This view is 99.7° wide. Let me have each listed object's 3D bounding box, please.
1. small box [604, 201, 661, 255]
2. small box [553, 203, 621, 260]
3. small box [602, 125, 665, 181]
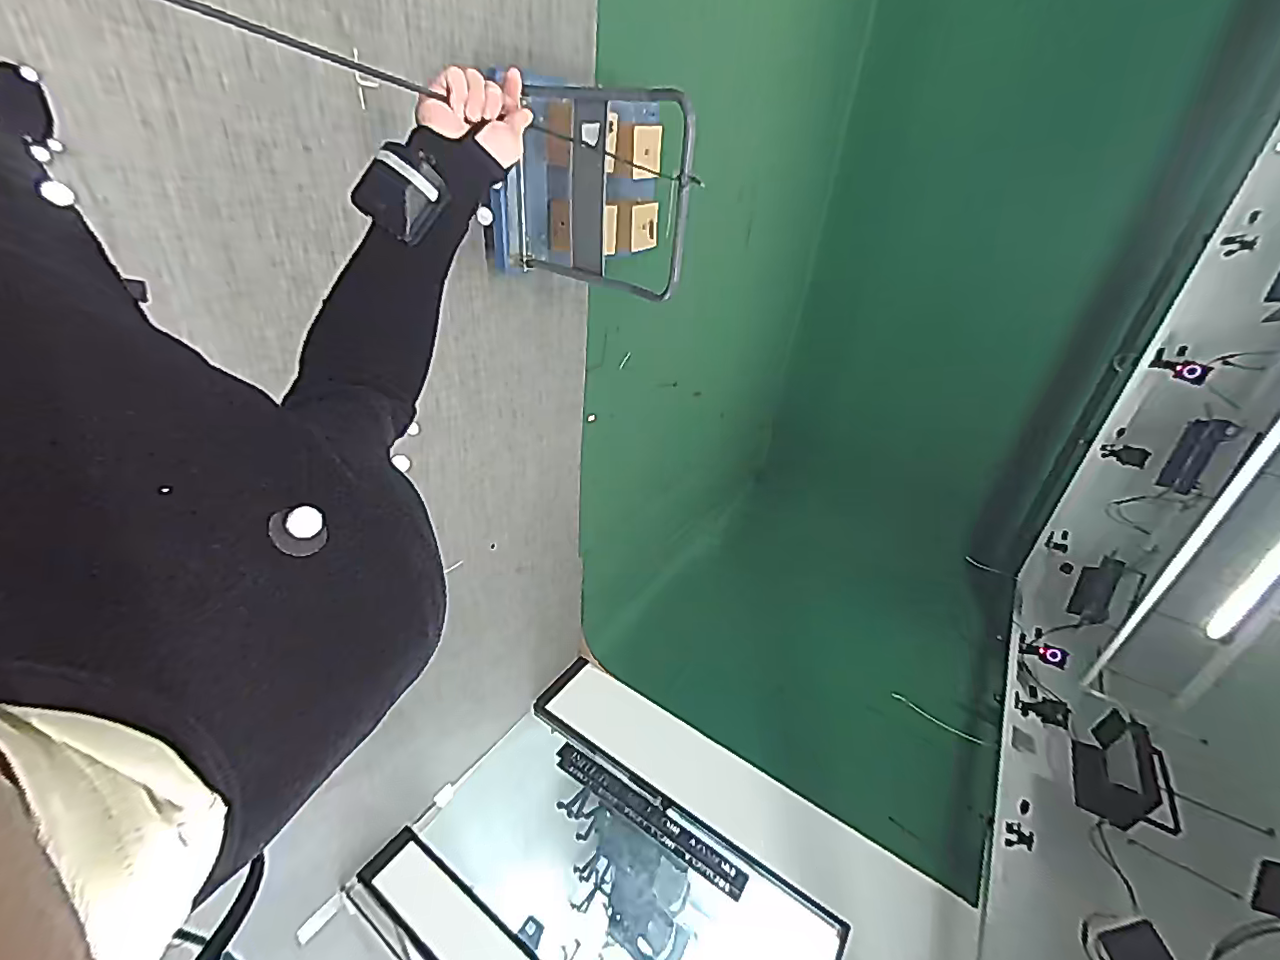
[{"bbox_3d":[-0.035,-1.005,2.146,0.179,0.176,0.168,-36,139,-43],"label":"small box"},{"bbox_3d":[-0.192,-0.901,1.952,0.179,0.176,0.168,-32,137,-46],"label":"small box"},{"bbox_3d":[-0.029,-1.213,2.004,0.179,0.176,0.168,-37,141,-43],"label":"small box"}]
